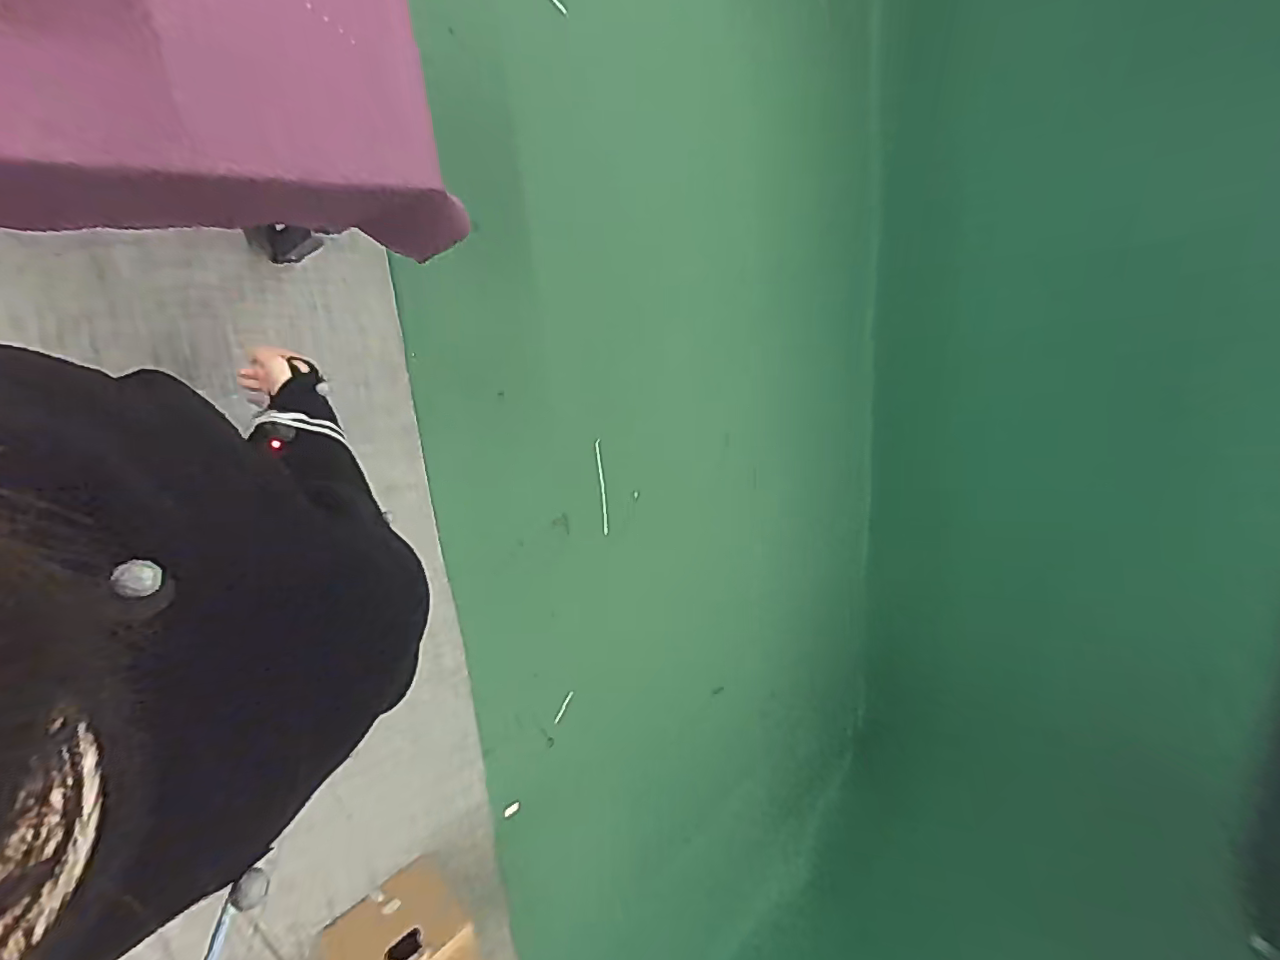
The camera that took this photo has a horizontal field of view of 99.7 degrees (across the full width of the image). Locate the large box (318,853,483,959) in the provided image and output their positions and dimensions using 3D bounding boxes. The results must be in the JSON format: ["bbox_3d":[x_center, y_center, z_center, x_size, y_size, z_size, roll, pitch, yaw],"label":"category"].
[{"bbox_3d":[-0.665,1.410,1.554,0.320,0.320,0.408,-21,112,-42],"label":"large box"}]
